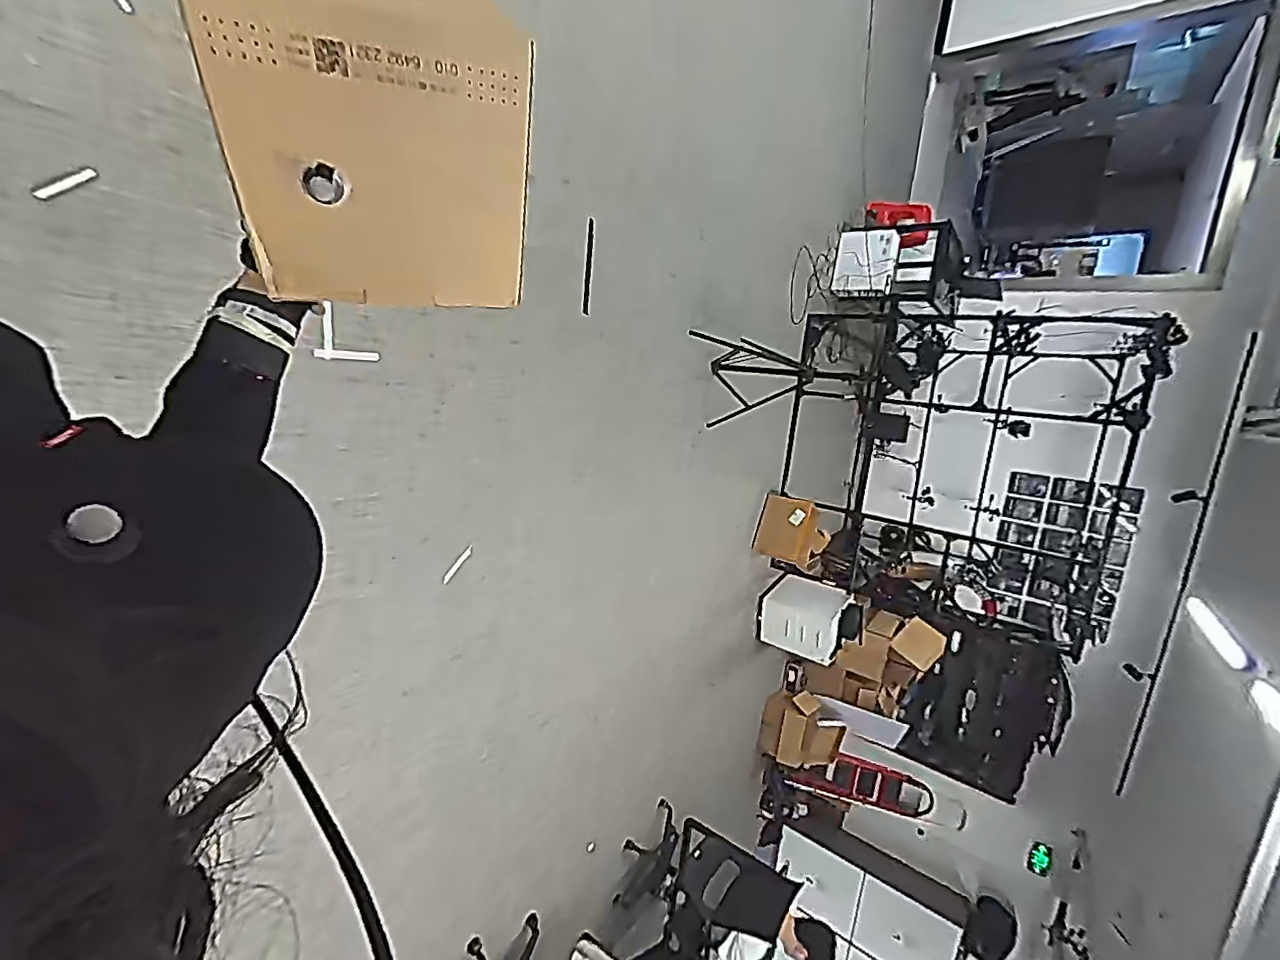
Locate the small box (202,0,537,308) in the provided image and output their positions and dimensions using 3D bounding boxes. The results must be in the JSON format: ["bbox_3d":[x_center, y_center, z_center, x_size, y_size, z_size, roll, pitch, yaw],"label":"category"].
[{"bbox_3d":[-0.170,-0.241,0.375,0.168,0.179,0.176,-3,136,-22],"label":"small box"}]
